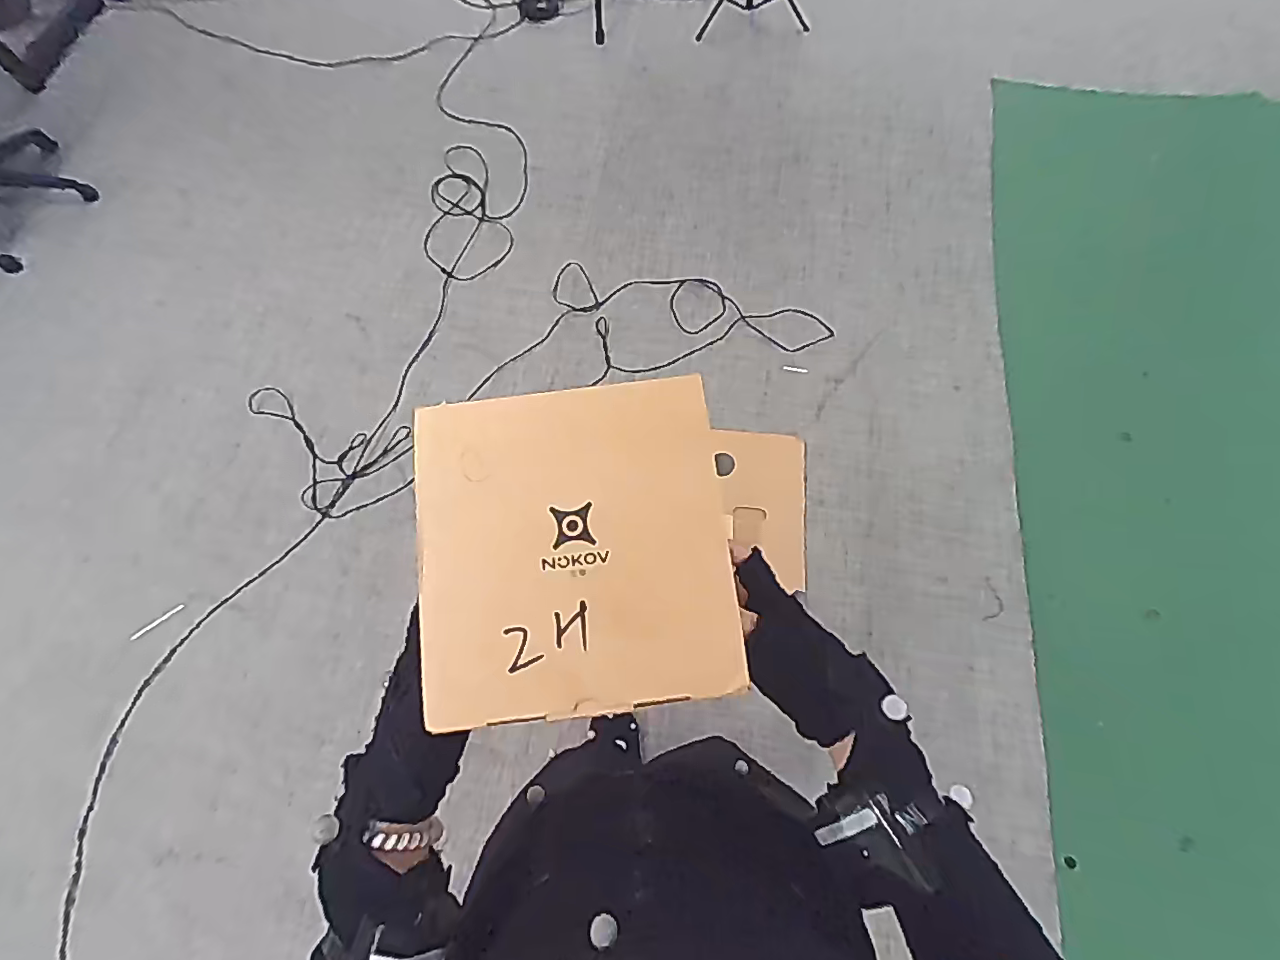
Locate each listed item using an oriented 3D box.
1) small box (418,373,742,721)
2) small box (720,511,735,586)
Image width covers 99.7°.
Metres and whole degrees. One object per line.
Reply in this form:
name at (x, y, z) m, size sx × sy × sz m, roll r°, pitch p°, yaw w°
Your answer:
small box at (-0.037, 0.047, 0.369) m, size 0.168 × 0.176 × 0.179 m, roll -7°, pitch 78°, yaw 0°
small box at (0.139, 0.178, 1.338) m, size 0.168 × 0.176 × 0.179 m, roll 3°, pitch 70°, yaw 3°
